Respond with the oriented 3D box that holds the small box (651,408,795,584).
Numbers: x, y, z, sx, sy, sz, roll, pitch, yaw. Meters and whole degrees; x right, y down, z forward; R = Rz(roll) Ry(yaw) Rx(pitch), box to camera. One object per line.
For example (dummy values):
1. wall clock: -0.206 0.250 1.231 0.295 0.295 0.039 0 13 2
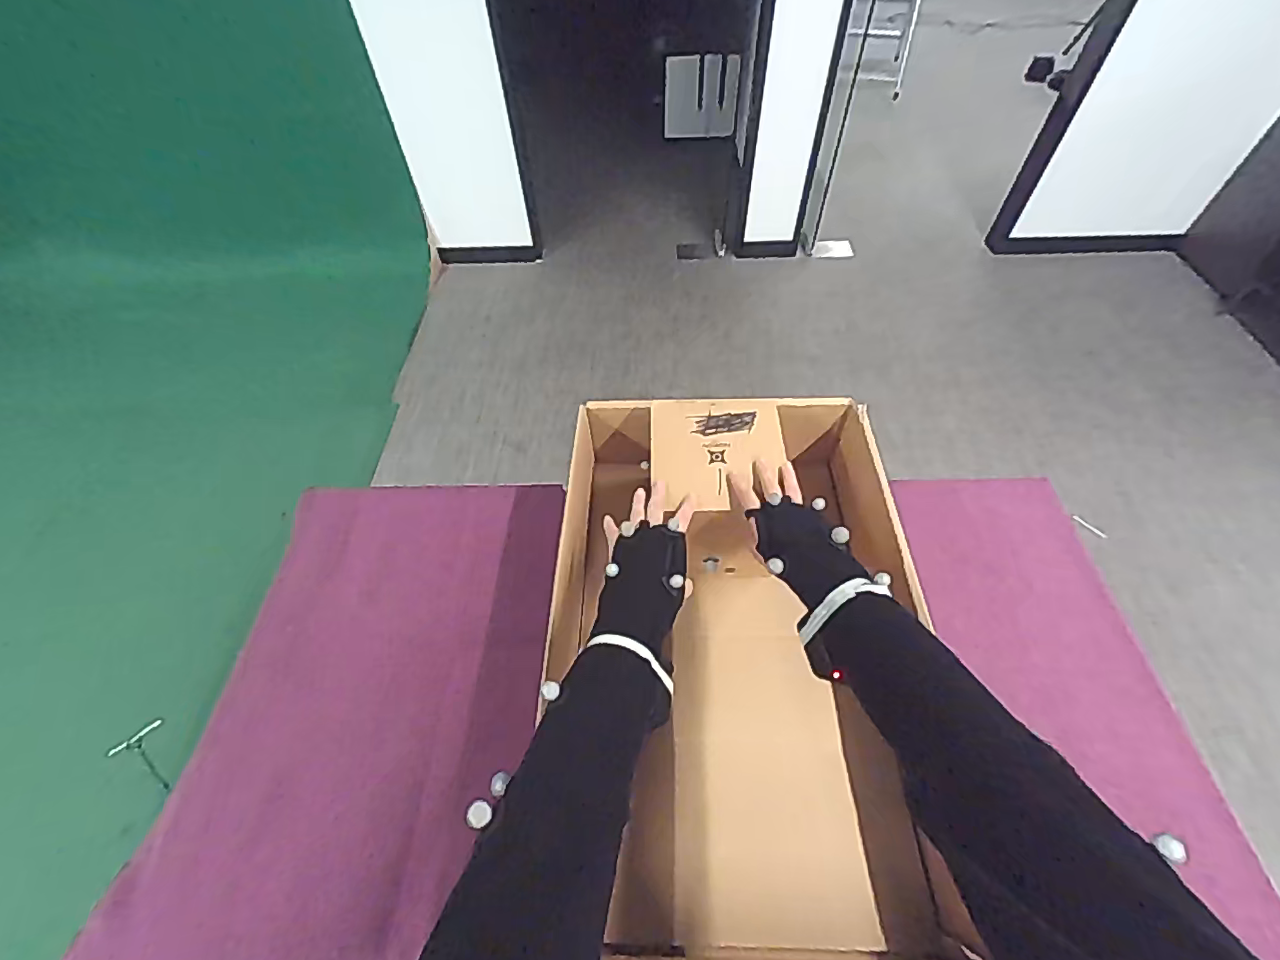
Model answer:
1. small box: 0.098 0.024 0.726 0.168 0.176 0.179 -1 54 2
